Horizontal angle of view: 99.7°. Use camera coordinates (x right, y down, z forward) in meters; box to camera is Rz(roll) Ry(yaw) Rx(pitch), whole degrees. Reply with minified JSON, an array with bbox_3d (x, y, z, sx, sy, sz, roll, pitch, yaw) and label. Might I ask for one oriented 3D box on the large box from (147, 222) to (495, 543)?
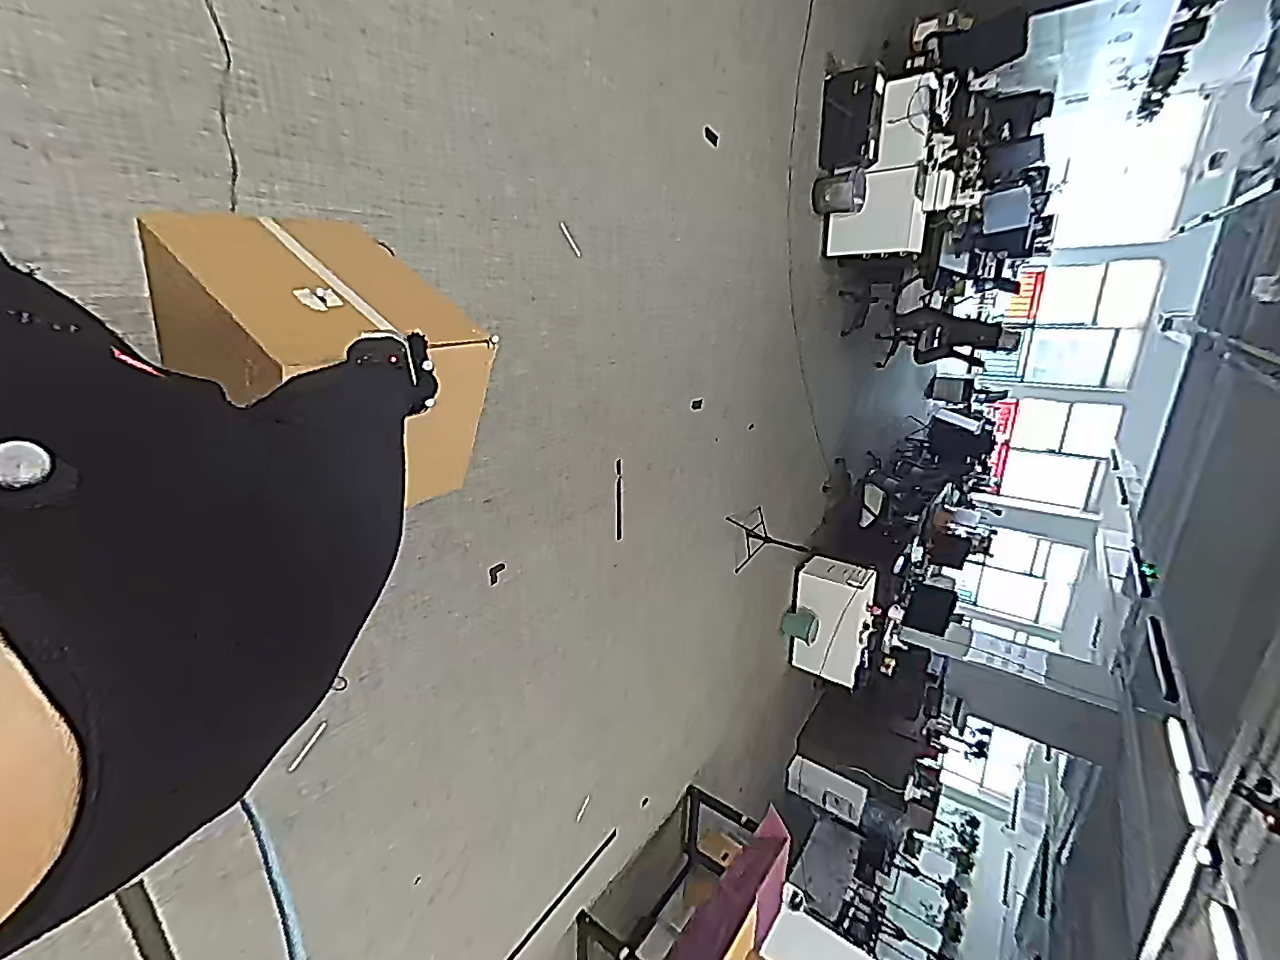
[{"bbox_3d":[-0.520,-0.173,0.895,0.320,0.408,0.320,-27,151,-49],"label":"large box"}]
